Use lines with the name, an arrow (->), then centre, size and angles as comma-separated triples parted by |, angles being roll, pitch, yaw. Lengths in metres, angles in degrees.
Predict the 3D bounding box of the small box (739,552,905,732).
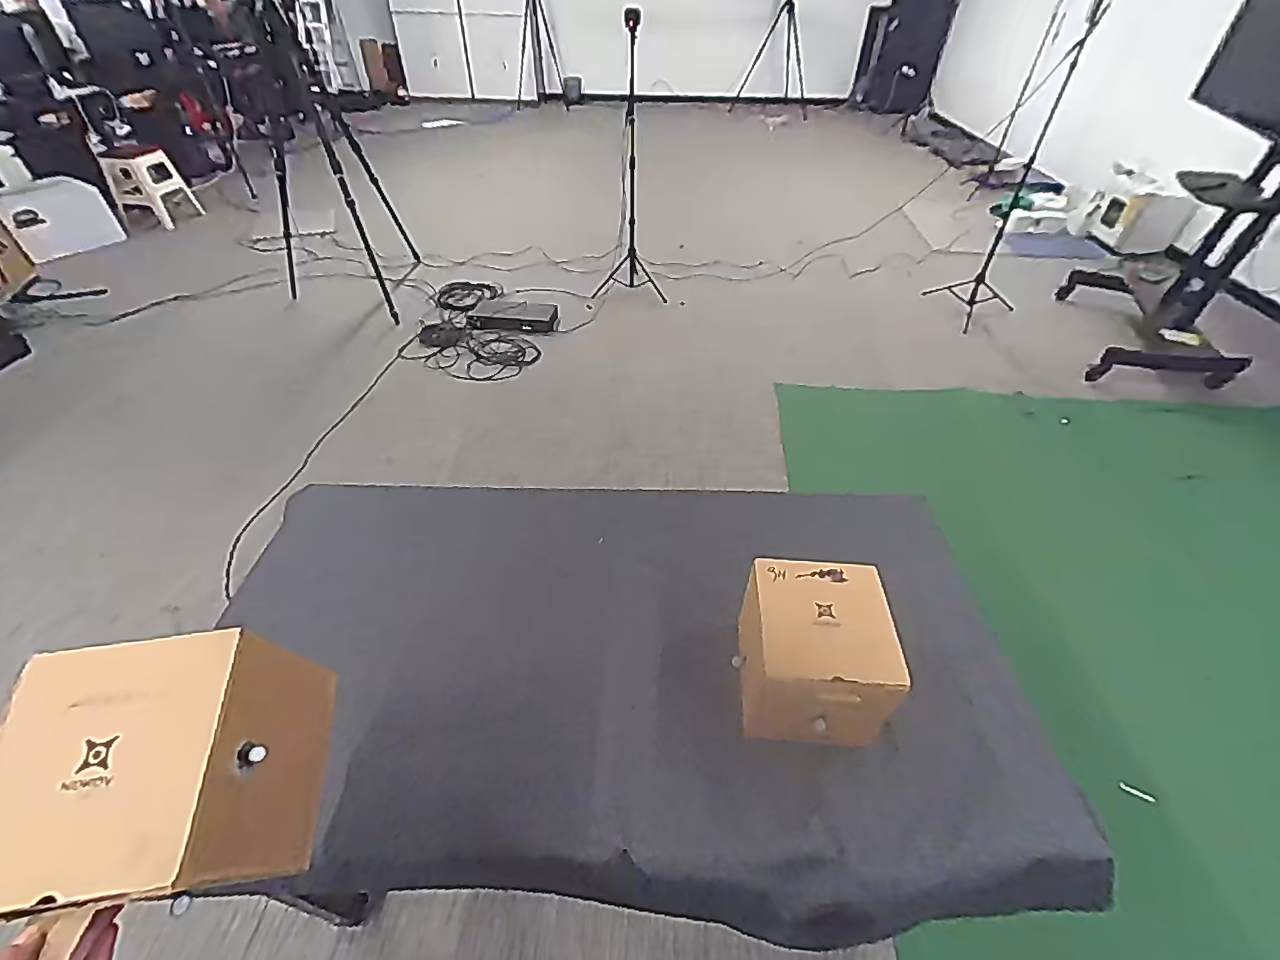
small box -> 0.229, 0.221, 0.732 | 0.168, 0.176, 0.179 | 4, 45, 3

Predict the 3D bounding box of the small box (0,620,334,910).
small box -> -0.390, 0.237, 0.459 | 0.168, 0.176, 0.179 | -7, 58, -4
